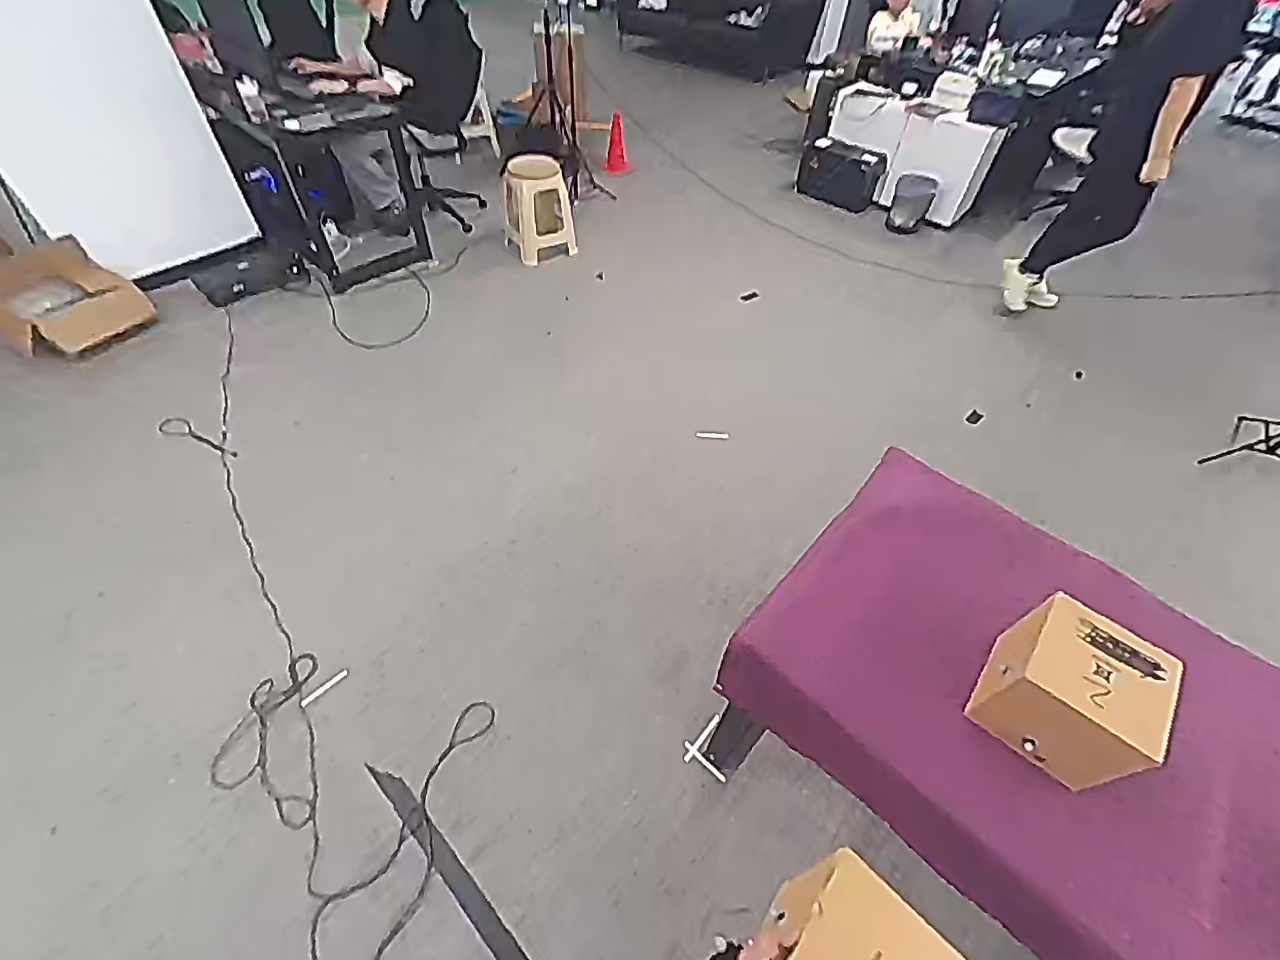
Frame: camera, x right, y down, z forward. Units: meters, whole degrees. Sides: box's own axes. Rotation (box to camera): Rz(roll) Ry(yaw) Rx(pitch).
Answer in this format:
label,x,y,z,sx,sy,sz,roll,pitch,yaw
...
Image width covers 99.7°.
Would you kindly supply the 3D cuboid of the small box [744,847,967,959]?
label,x,y,z,sx,sy,sz,roll,pitch,yaw
small box,0.231,0.563,0.597,0.179,0.176,0.168,37,44,24
